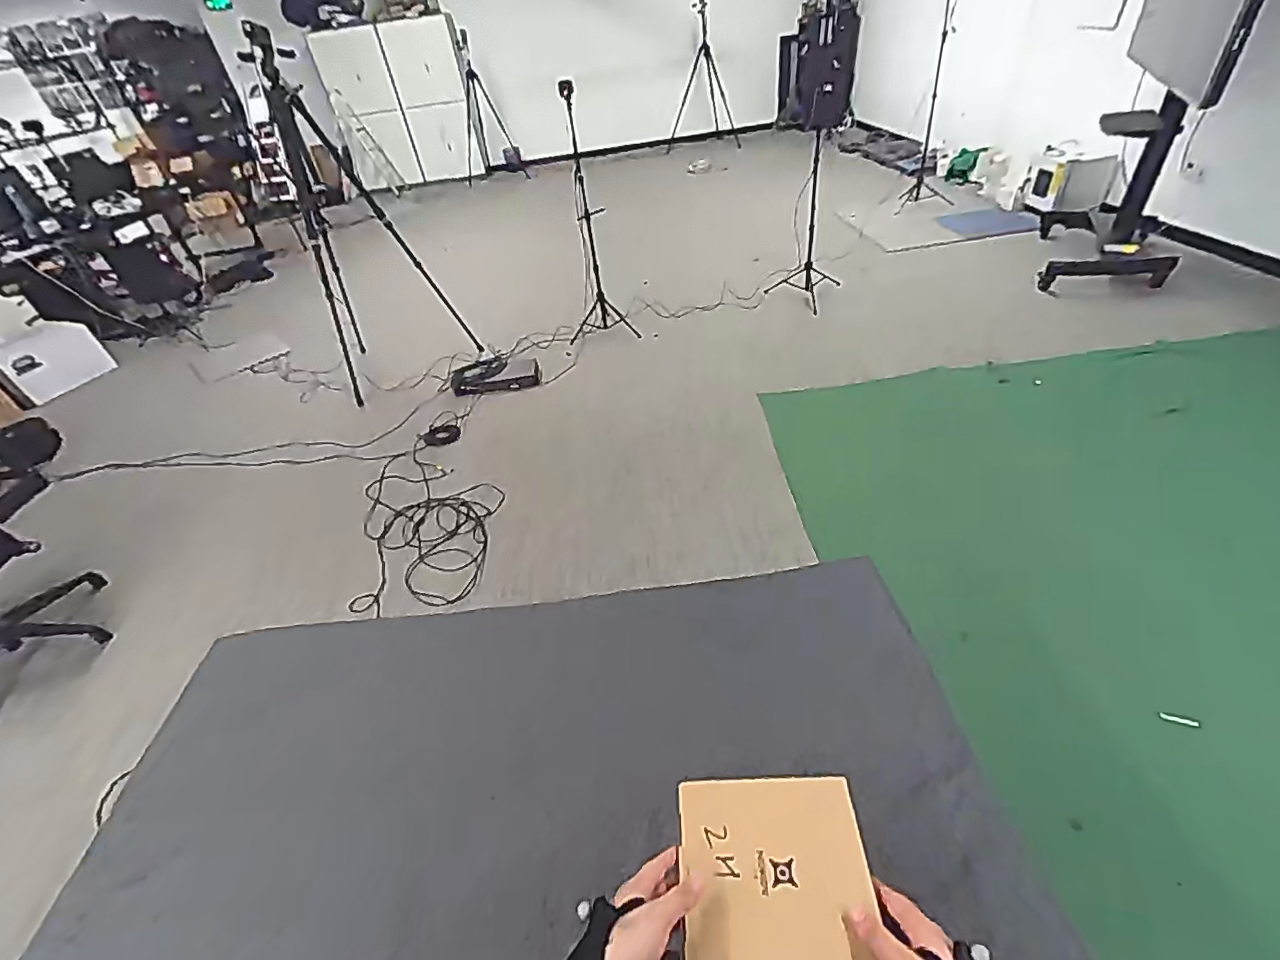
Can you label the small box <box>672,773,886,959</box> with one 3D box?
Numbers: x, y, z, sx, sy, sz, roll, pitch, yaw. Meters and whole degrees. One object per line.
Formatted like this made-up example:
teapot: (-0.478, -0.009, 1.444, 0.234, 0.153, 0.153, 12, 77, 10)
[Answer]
small box: (0.126, 0.418, 0.548, 0.179, 0.176, 0.168, -5, 38, 6)
